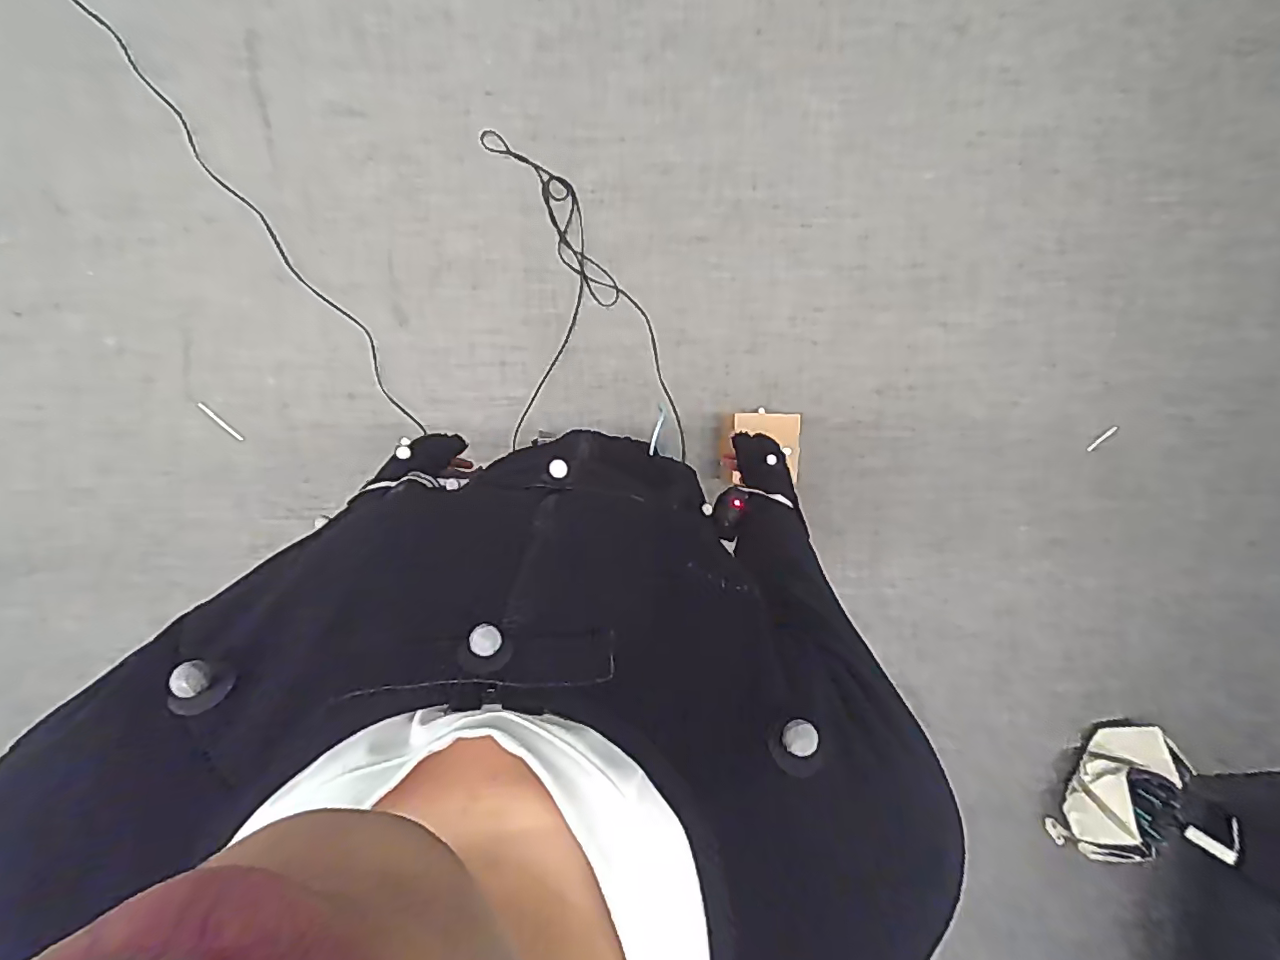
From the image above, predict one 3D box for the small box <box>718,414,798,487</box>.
[{"bbox_3d":[0.301,-0.082,1.414,0.168,0.176,0.179,2,96,-3],"label":"small box"}]
